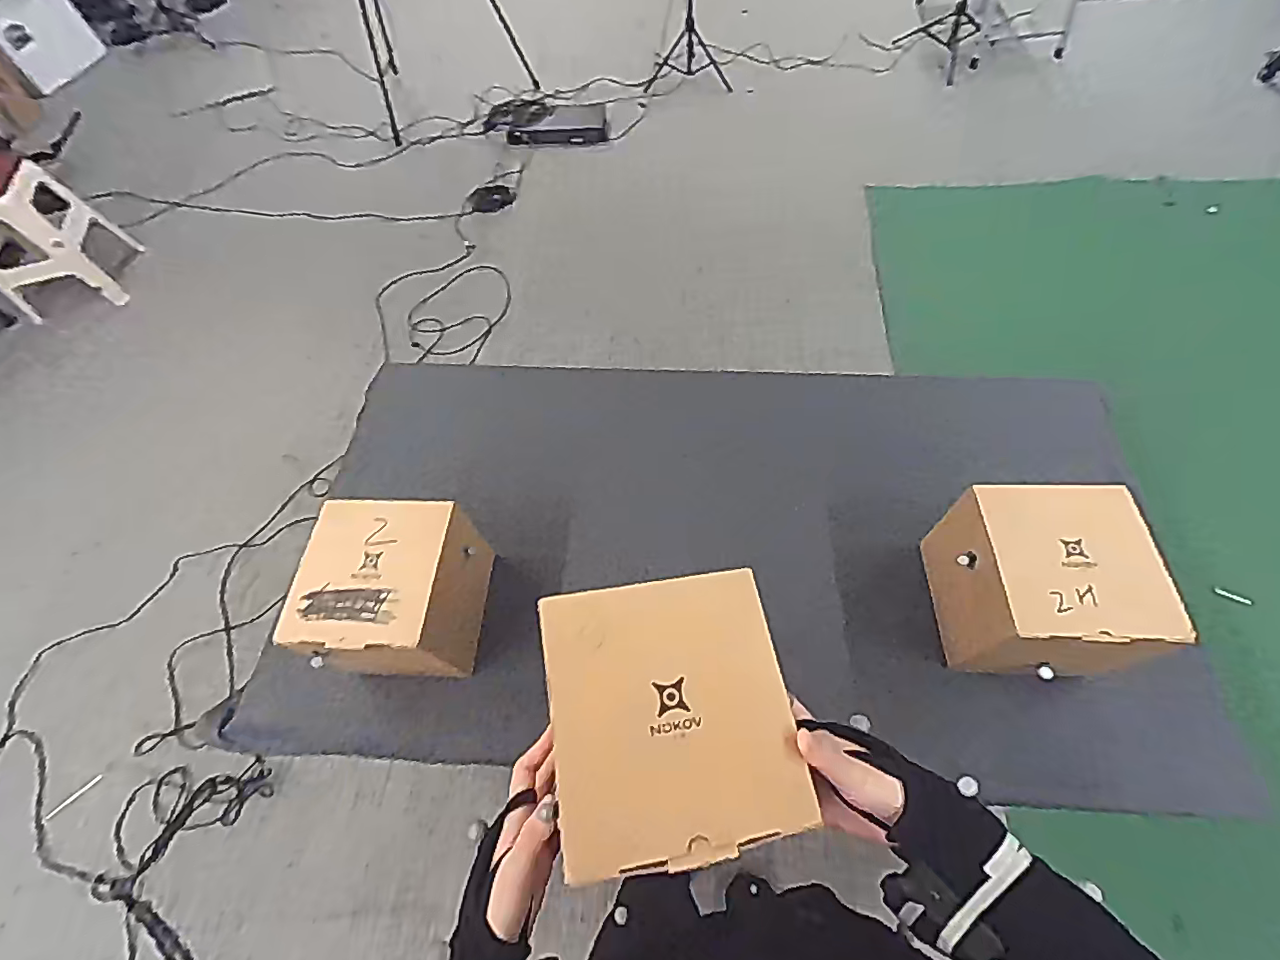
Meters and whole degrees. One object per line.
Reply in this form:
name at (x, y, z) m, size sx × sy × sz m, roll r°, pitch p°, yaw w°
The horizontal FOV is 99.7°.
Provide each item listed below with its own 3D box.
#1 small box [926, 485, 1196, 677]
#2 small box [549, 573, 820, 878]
small box at (0.462, 0.122, 0.635) m, size 0.168 × 0.176 × 0.179 m, roll -1°, pitch 60°, yaw 6°
small box at (0.015, 0.195, 0.446) m, size 0.168 × 0.176 × 0.179 m, roll -7°, pitch 63°, yaw -10°
